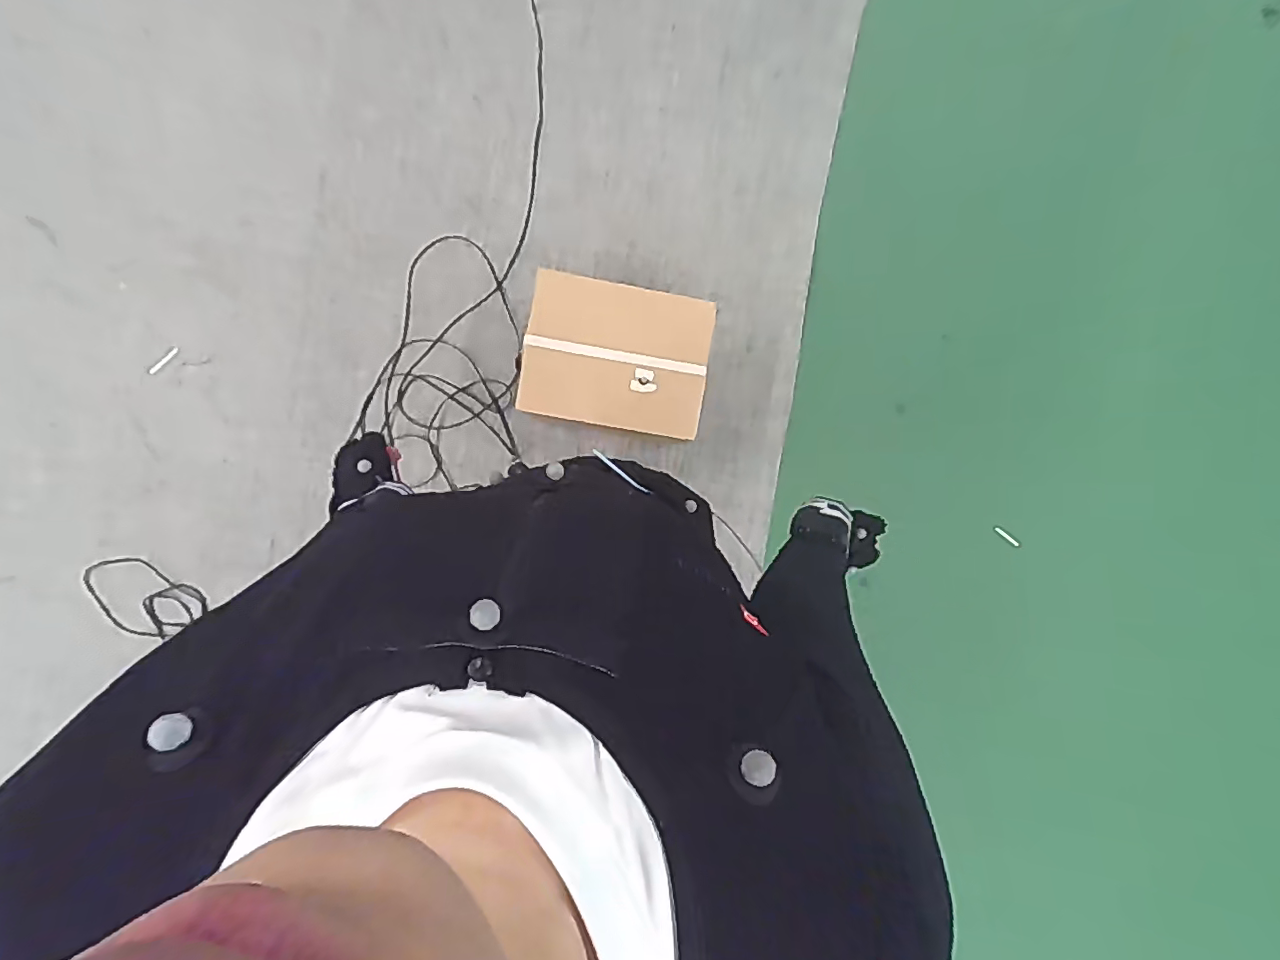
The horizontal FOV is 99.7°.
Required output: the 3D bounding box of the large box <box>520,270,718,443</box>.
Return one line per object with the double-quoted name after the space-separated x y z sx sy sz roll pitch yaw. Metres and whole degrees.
-0.058 -0.280 1.333 0.408 0.320 0.320 10 91 -5 "large box"
